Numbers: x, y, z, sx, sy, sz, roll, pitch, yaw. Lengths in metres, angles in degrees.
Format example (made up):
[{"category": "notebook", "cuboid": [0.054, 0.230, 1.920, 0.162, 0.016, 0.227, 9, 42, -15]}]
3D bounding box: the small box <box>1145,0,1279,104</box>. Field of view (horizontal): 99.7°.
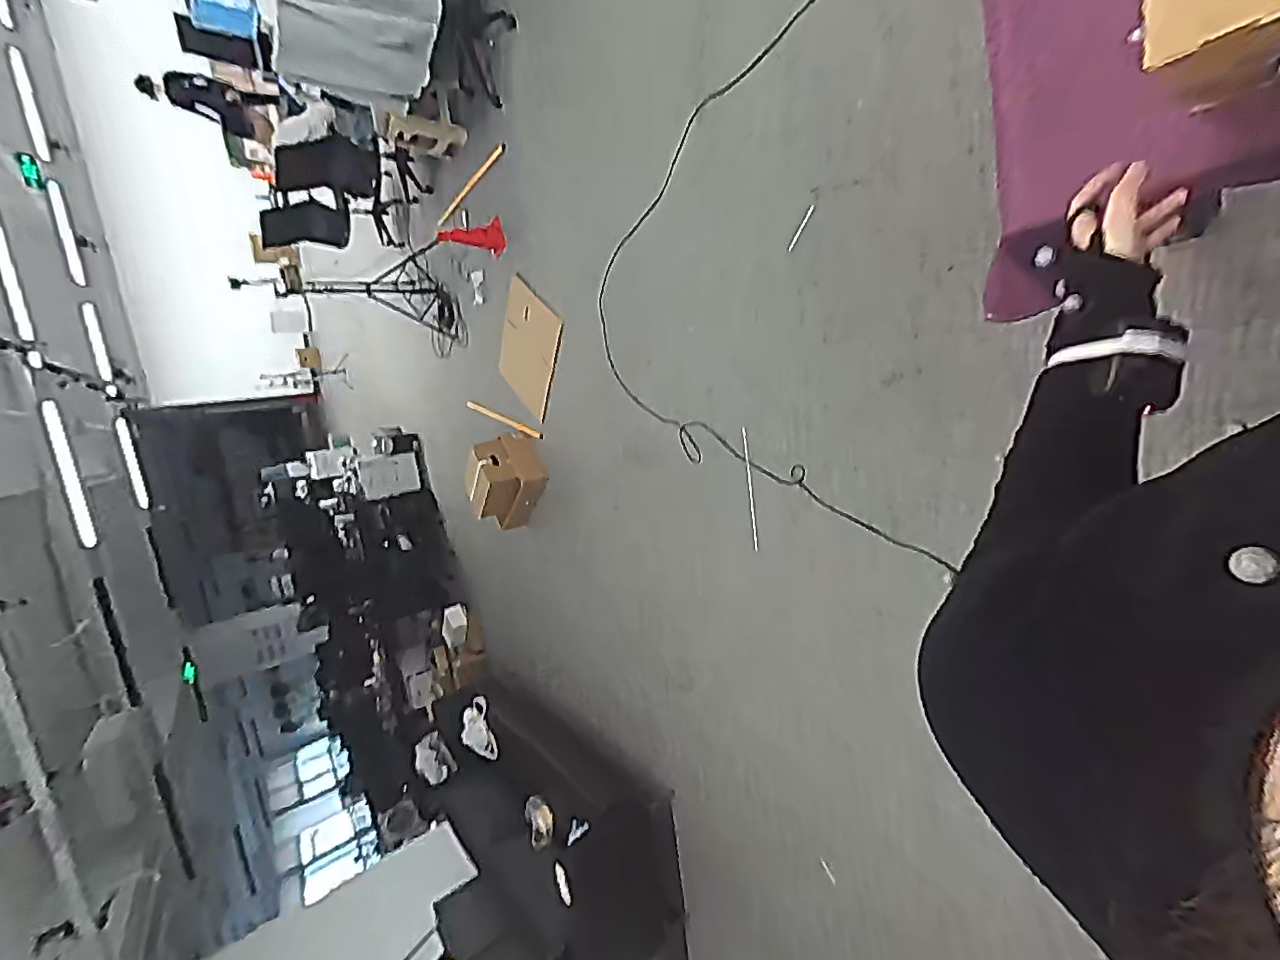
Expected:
[{"category": "small box", "cuboid": [0.507, -0.429, 0.407, 0.168, 0.176, 0.179, 2, 104, 53]}]
